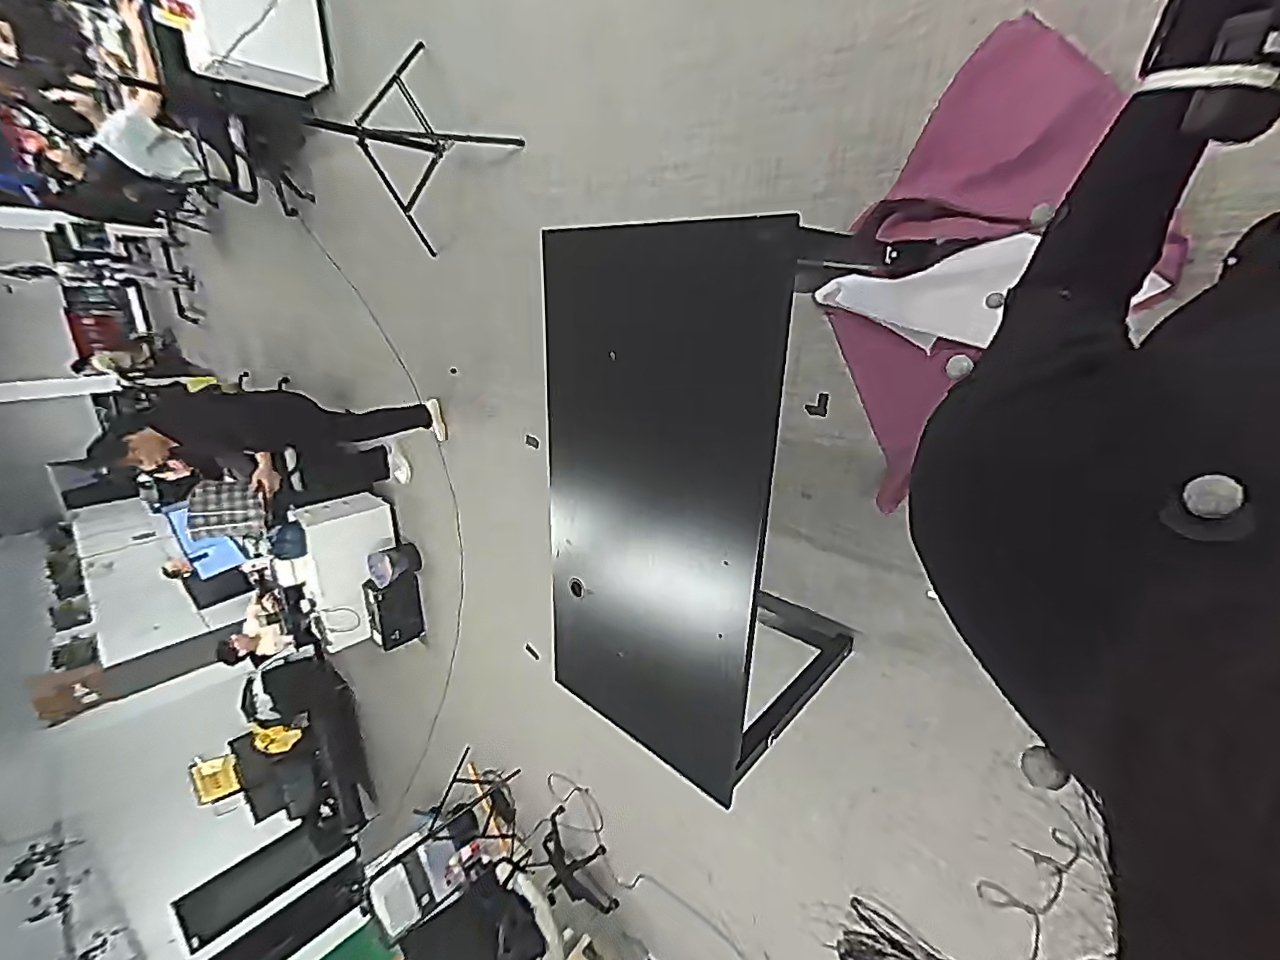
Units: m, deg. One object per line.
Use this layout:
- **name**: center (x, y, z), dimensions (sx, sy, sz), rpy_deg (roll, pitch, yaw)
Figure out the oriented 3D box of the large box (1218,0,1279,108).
- **large box**: center (0.641, -0.415, 0.274), dimensions (0.408, 0.320, 0.320), rpy_deg (20, 125, 36)
